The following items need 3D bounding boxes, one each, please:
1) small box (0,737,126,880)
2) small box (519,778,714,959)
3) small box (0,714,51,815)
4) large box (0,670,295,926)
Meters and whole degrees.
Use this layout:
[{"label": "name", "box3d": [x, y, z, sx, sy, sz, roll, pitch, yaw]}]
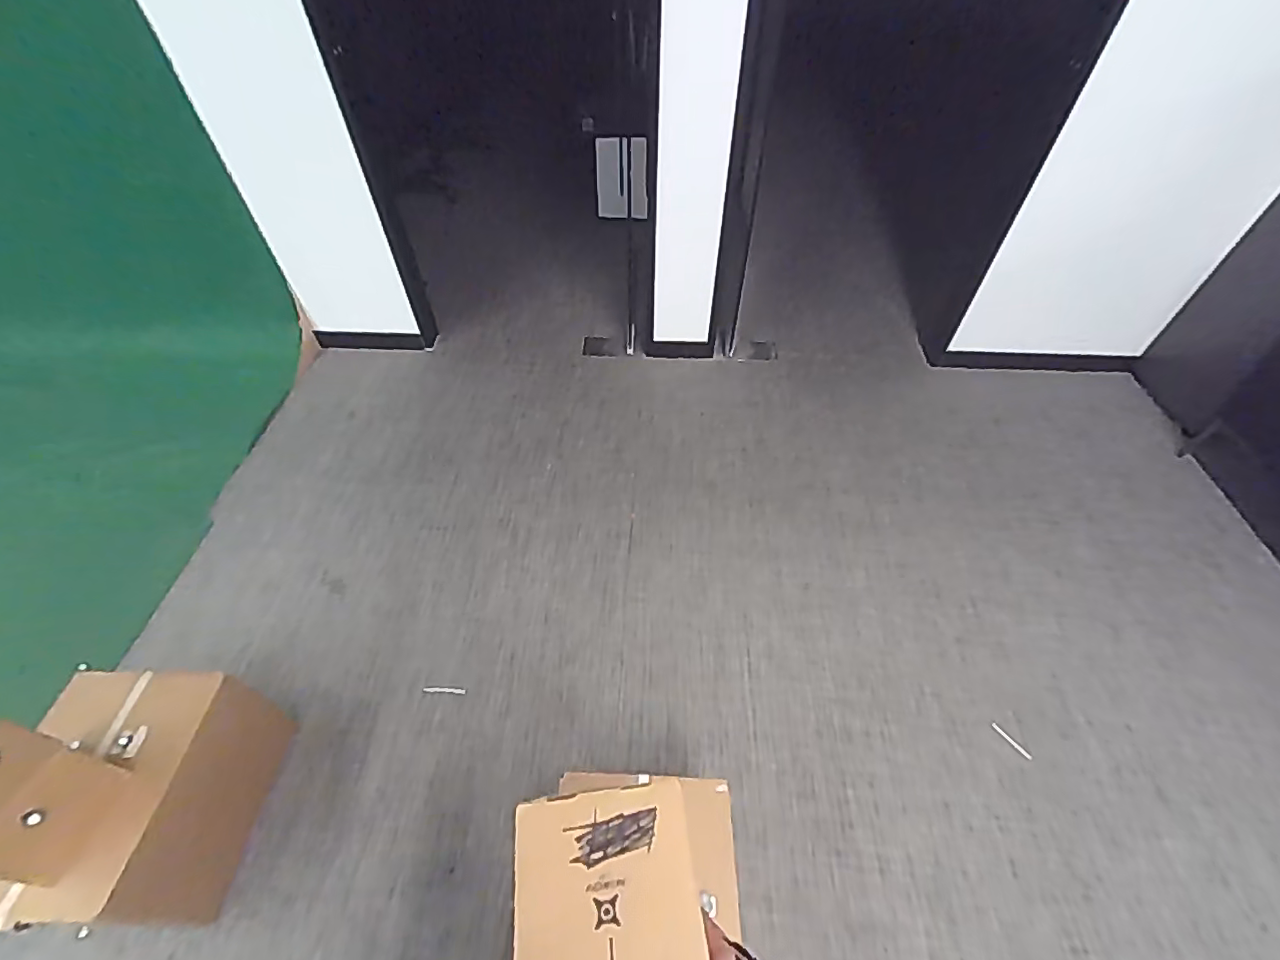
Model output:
[{"label": "small box", "box3d": [-1.011, 0.526, 0.883, 0.168, 0.176, 0.179, 9, 51, 8]}, {"label": "small box", "box3d": [-0.025, 0.424, 0.543, 0.168, 0.176, 0.179, -7, 50, -4]}, {"label": "small box", "box3d": [-1.016, 0.413, 0.766, 0.168, 0.176, 0.179, 12, 52, 11]}, {"label": "large box", "box3d": [-1.004, 0.643, 1.101, 0.320, 0.320, 0.408, 1, 49, 1]}]
